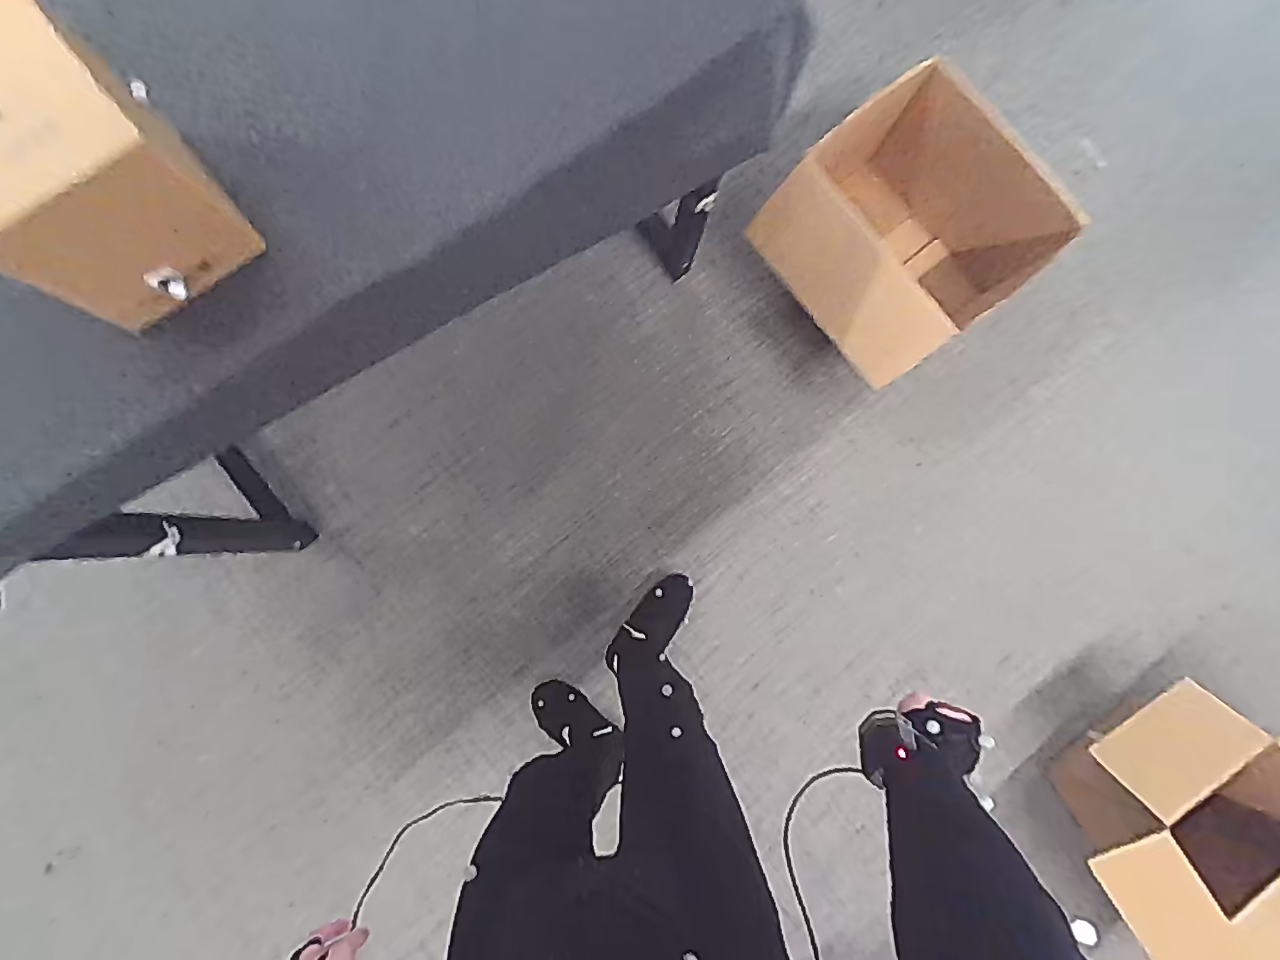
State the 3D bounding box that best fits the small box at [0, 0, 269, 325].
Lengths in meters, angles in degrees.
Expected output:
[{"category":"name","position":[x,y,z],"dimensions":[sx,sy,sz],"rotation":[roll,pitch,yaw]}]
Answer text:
[{"category":"small box","position":[-0.517,-0.284,0.516],"dimensions":[0.168,0.176,0.179],"rotation":[-40,88,-8]}]
